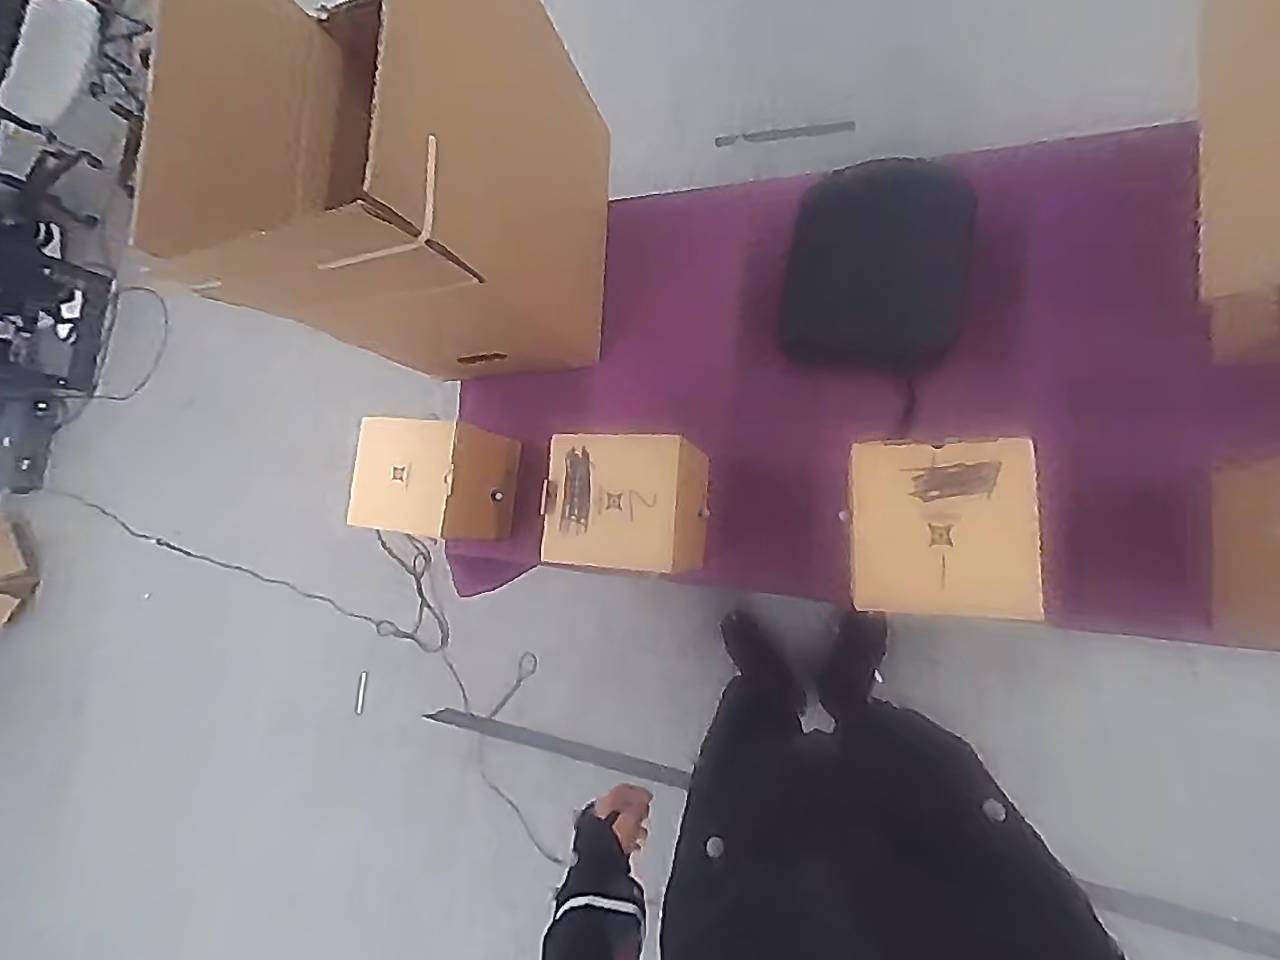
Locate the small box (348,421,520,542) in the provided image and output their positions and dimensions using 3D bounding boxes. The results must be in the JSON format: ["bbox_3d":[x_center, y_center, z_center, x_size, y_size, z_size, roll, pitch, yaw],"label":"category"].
[{"bbox_3d":[-0.316,0.008,0.851,0.179,0.176,0.168,4,85,19],"label":"small box"}]

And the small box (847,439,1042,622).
[{"bbox_3d":[0.325,0.056,0.612,0.168,0.176,0.179,-1,84,20],"label":"small box"}]
